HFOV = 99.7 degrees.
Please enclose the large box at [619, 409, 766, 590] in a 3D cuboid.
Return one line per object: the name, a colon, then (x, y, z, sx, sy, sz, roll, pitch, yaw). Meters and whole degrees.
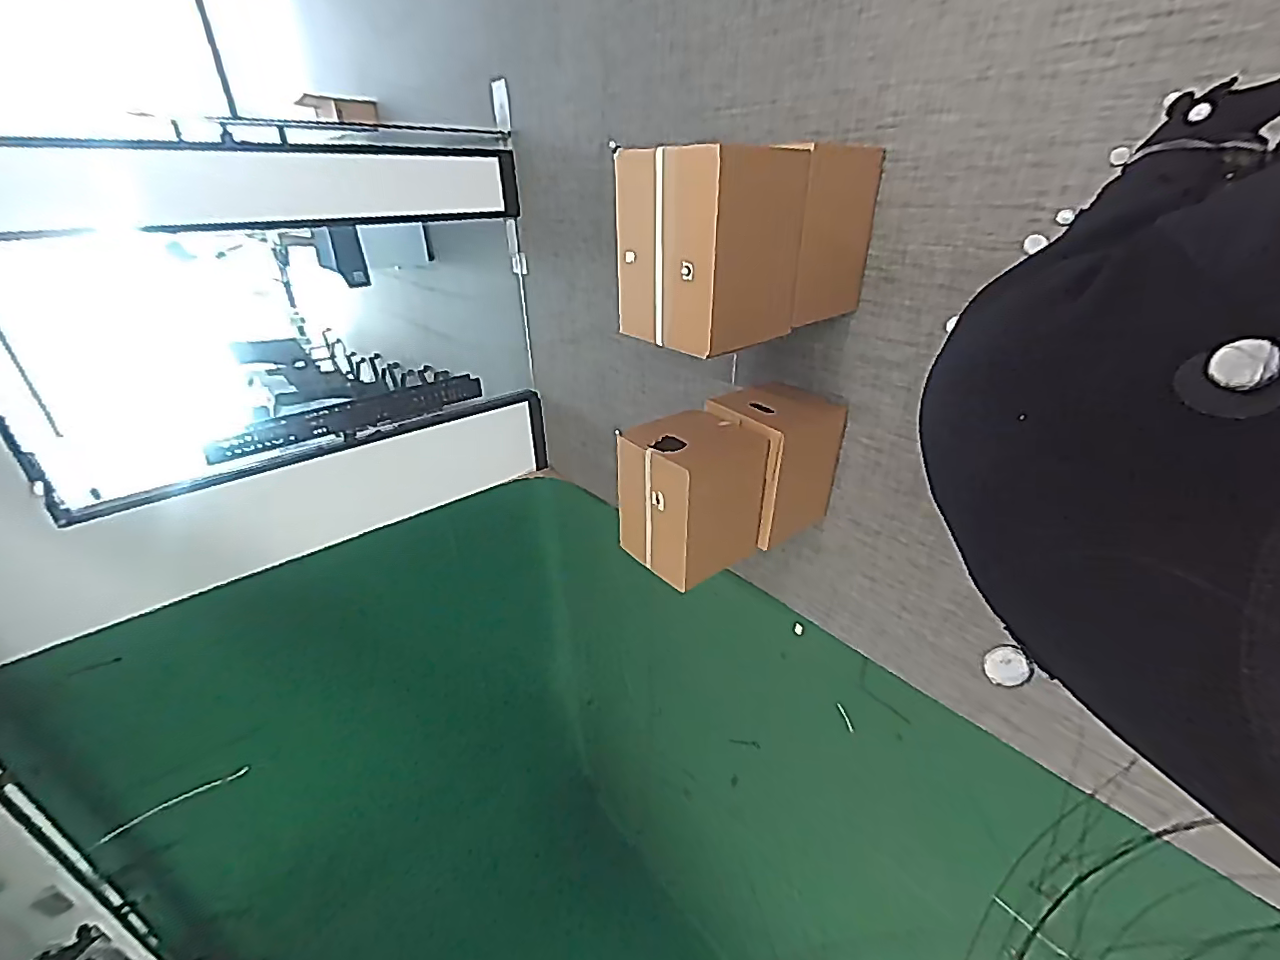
large box: (0.147, 0.044, 1.629, 0.320, 0.320, 0.408, 33, 131, 44)
